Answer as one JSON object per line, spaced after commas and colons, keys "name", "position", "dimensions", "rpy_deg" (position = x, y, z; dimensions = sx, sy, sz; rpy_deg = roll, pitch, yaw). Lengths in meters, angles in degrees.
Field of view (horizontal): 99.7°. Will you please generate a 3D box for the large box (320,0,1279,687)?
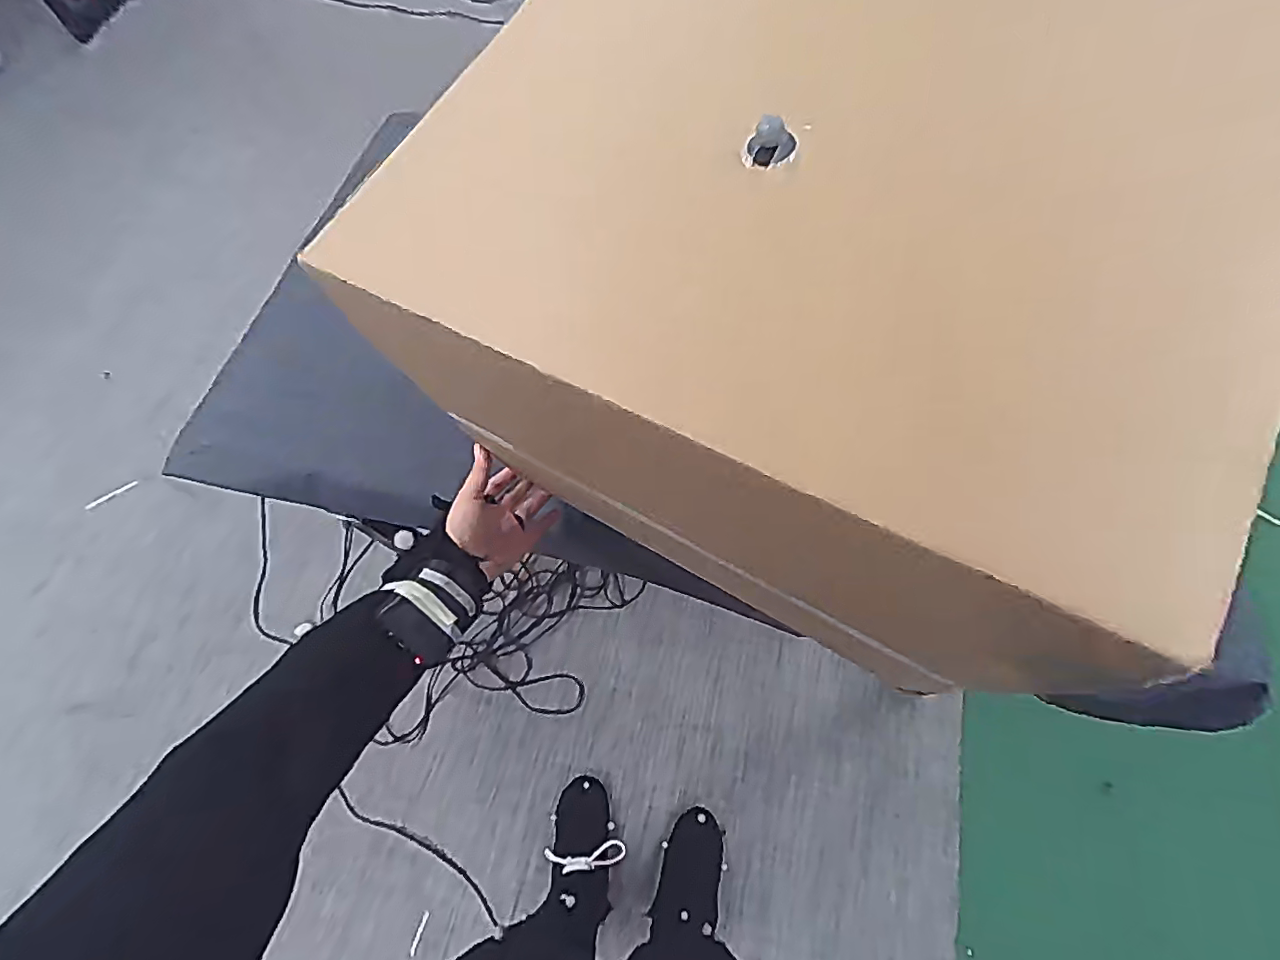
{"name": "large box", "position": [0.090, -0.093, 0.396], "dimensions": [0.408, 0.320, 0.320], "rpy_deg": [26, 75, 19]}
